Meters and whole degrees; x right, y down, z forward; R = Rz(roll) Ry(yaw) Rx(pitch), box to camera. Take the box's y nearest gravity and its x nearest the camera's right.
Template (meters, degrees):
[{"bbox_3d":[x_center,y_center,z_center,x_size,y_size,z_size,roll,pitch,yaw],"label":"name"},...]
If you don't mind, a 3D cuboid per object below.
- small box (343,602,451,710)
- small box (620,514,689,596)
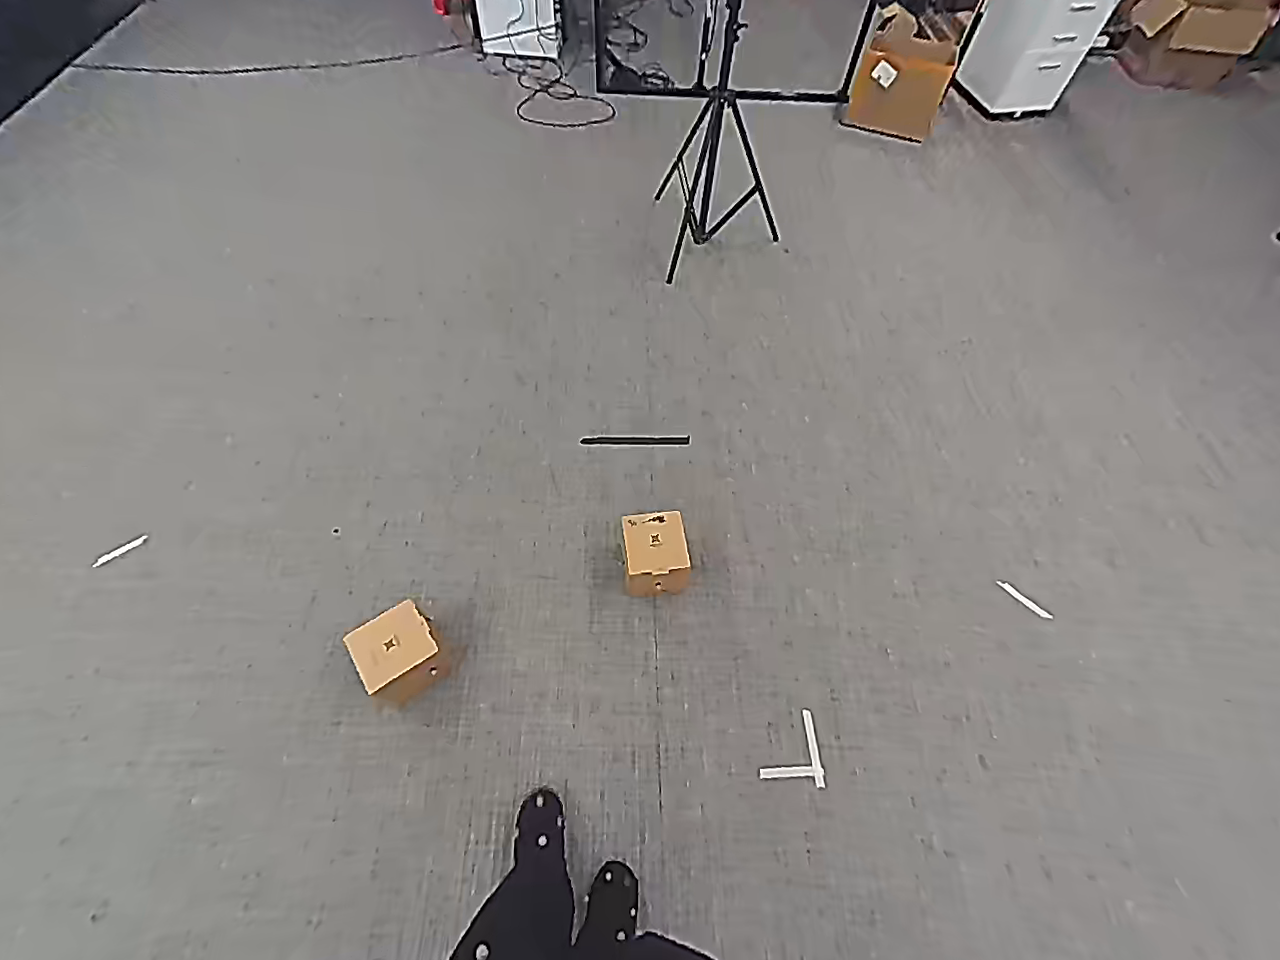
[{"bbox_3d":[-0.591,0.439,1.343,0.179,0.176,0.168,-32,63,-20],"label":"small box"},{"bbox_3d":[0.036,0.215,1.511,0.168,0.176,0.179,-5,59,-6],"label":"small box"}]
